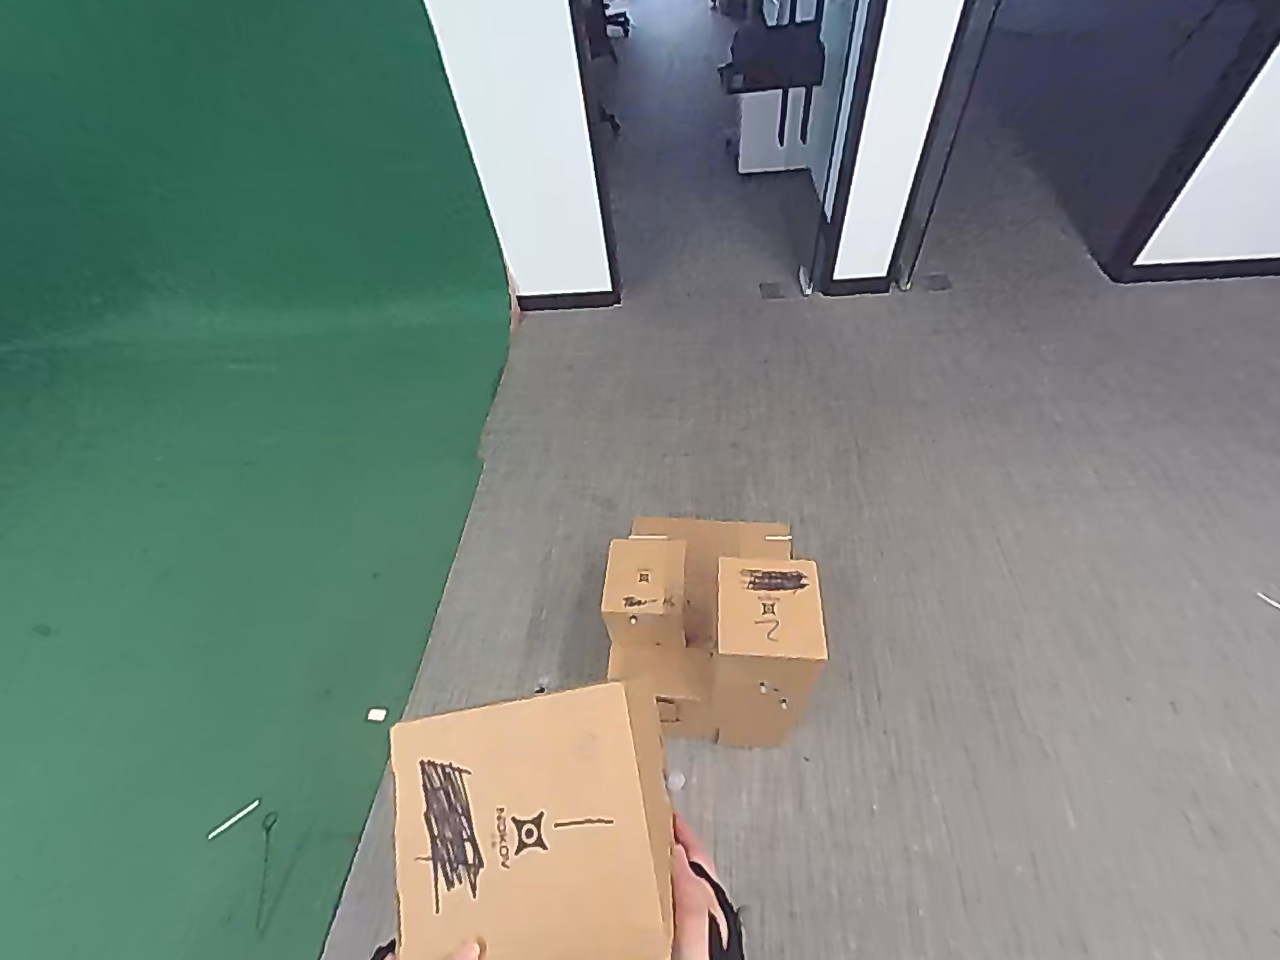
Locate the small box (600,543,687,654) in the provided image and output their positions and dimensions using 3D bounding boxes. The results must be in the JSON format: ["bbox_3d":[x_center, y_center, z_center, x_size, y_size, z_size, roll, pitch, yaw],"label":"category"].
[{"bbox_3d":[0.016,0.256,1.174,0.168,0.176,0.179,1,49,8],"label":"small box"}]

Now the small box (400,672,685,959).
[{"bbox_3d":[-0.066,0.255,0.436,0.179,0.176,0.168,-12,71,3],"label":"small box"}]

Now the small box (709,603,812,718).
[{"bbox_3d":[0.227,0.357,1.064,0.179,0.176,0.168,0,50,7],"label":"small box"}]
